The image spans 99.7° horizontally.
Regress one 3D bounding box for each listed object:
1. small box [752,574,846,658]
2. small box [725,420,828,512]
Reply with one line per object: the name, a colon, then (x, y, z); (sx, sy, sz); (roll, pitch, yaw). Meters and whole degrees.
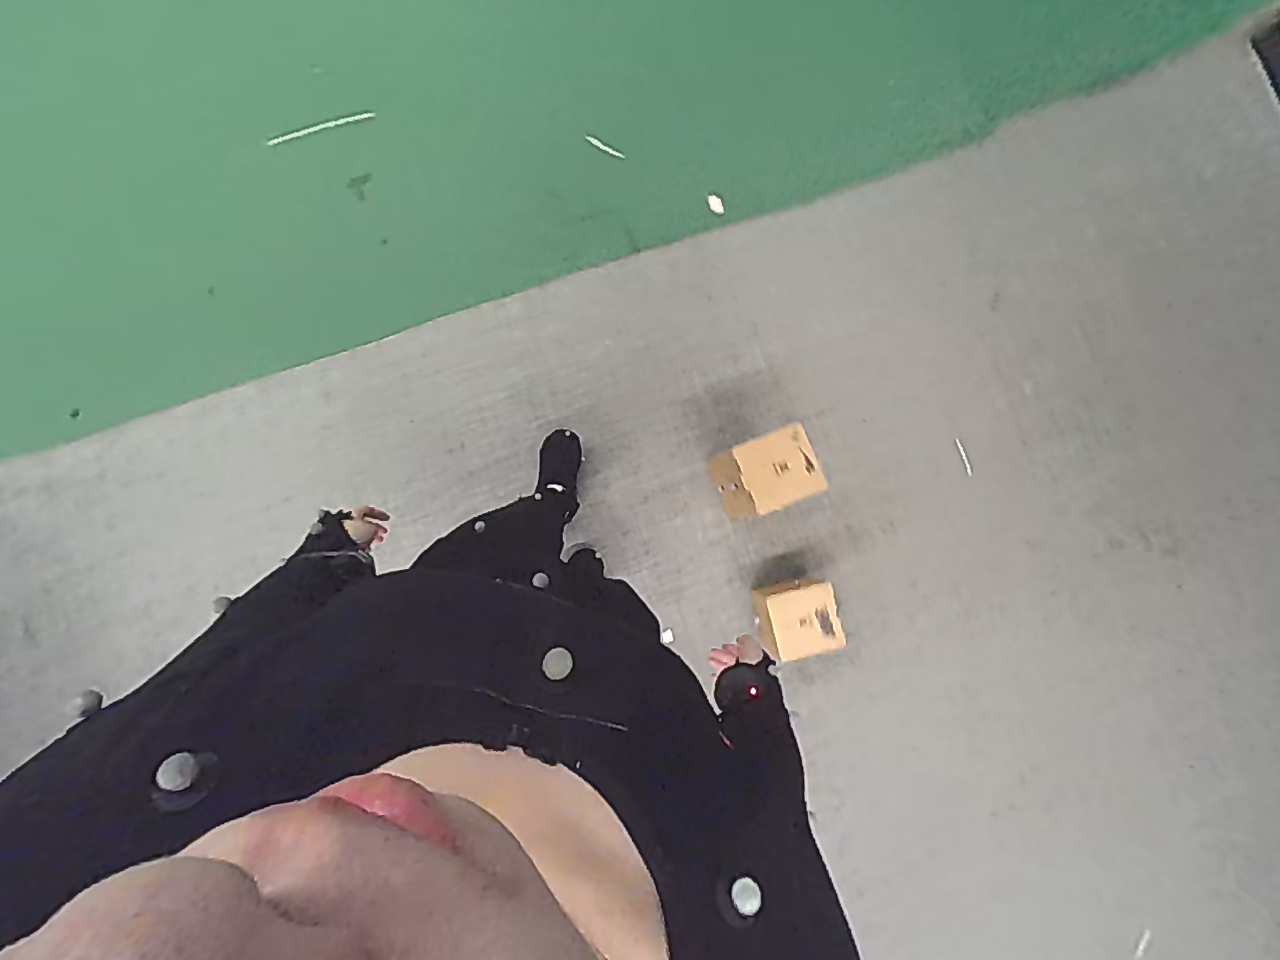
small box: (0.417, 0.354, 1.441); (0.179, 0.176, 0.168); (-13, 87, -3)
small box: (0.314, -0.025, 1.299); (0.179, 0.176, 0.168); (-22, 87, -4)
